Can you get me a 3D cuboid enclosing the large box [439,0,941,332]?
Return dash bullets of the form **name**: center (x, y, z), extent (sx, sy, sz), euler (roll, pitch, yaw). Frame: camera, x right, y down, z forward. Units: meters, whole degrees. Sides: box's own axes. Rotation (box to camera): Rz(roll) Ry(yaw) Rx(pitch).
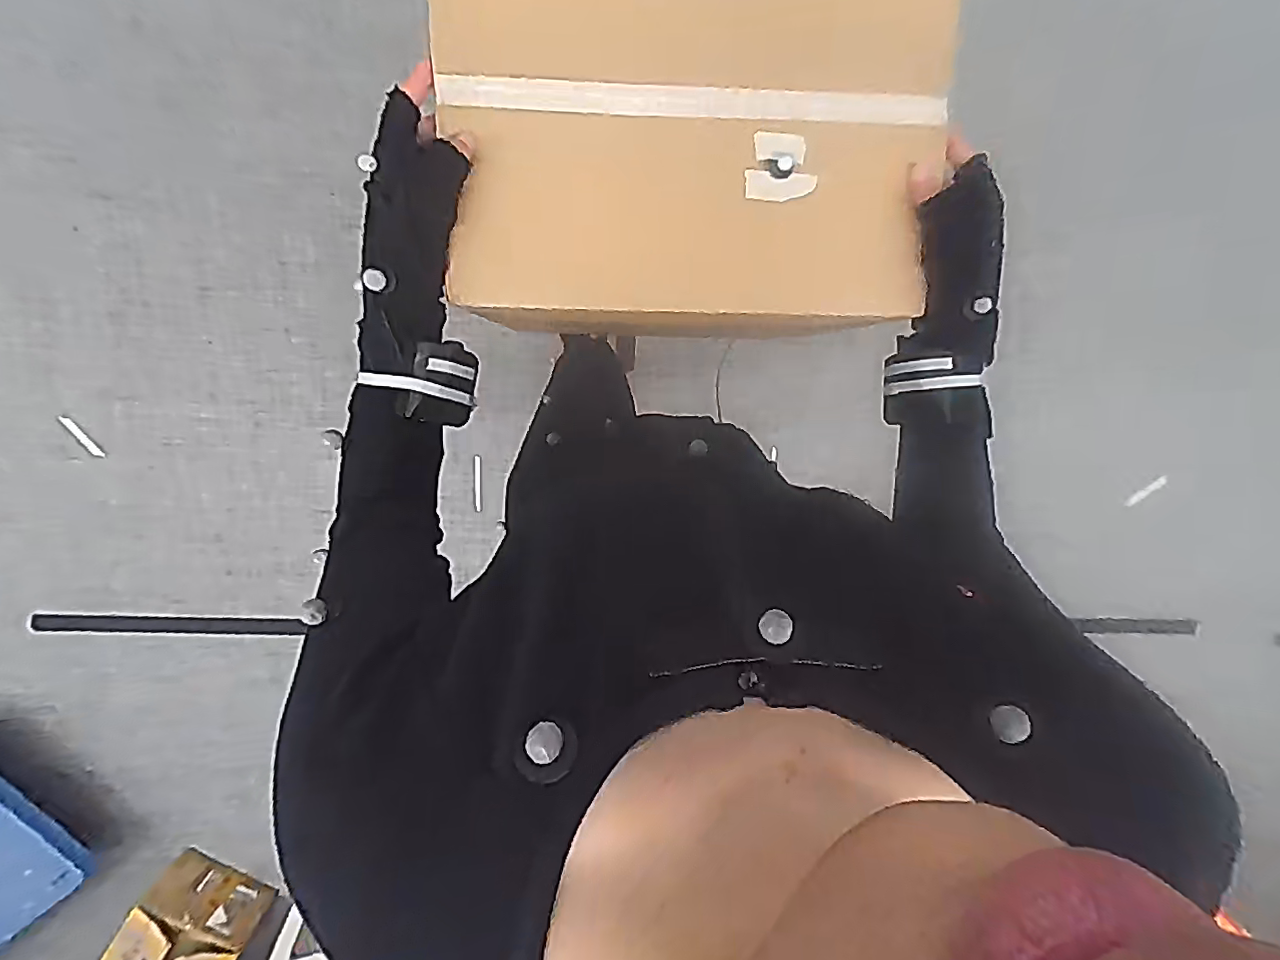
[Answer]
- **large box**: center (0.032, -0.333, 0.583), extent (0.408, 0.320, 0.320), euler (-1, 102, -4)
